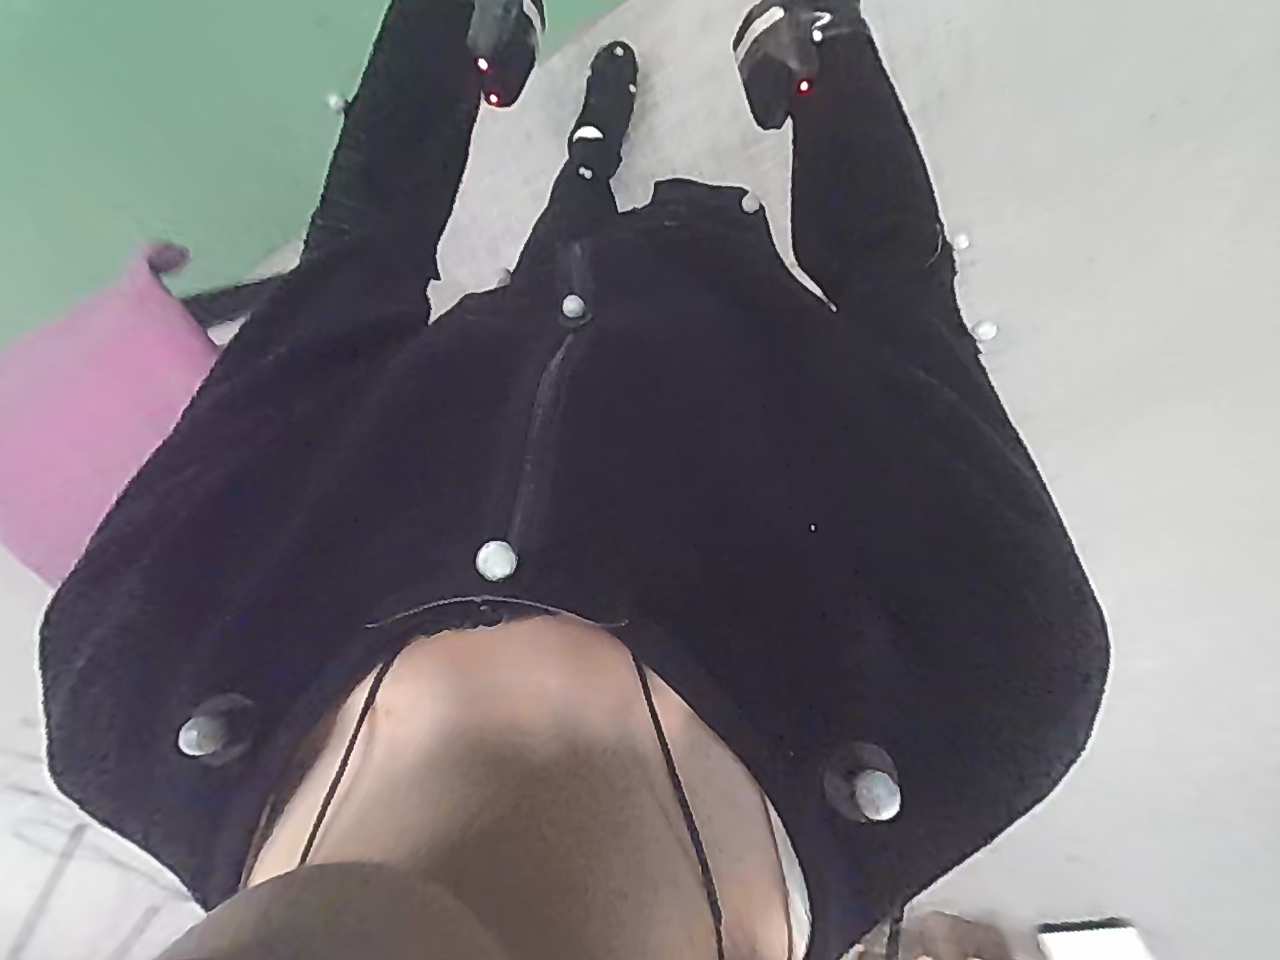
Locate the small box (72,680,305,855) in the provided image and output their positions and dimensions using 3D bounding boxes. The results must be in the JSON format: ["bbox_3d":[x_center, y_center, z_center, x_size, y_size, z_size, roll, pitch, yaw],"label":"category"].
[{"bbox_3d":[-0.662,0.433,0.822,0.168,0.176,0.179,-10,117,11],"label":"small box"}]
